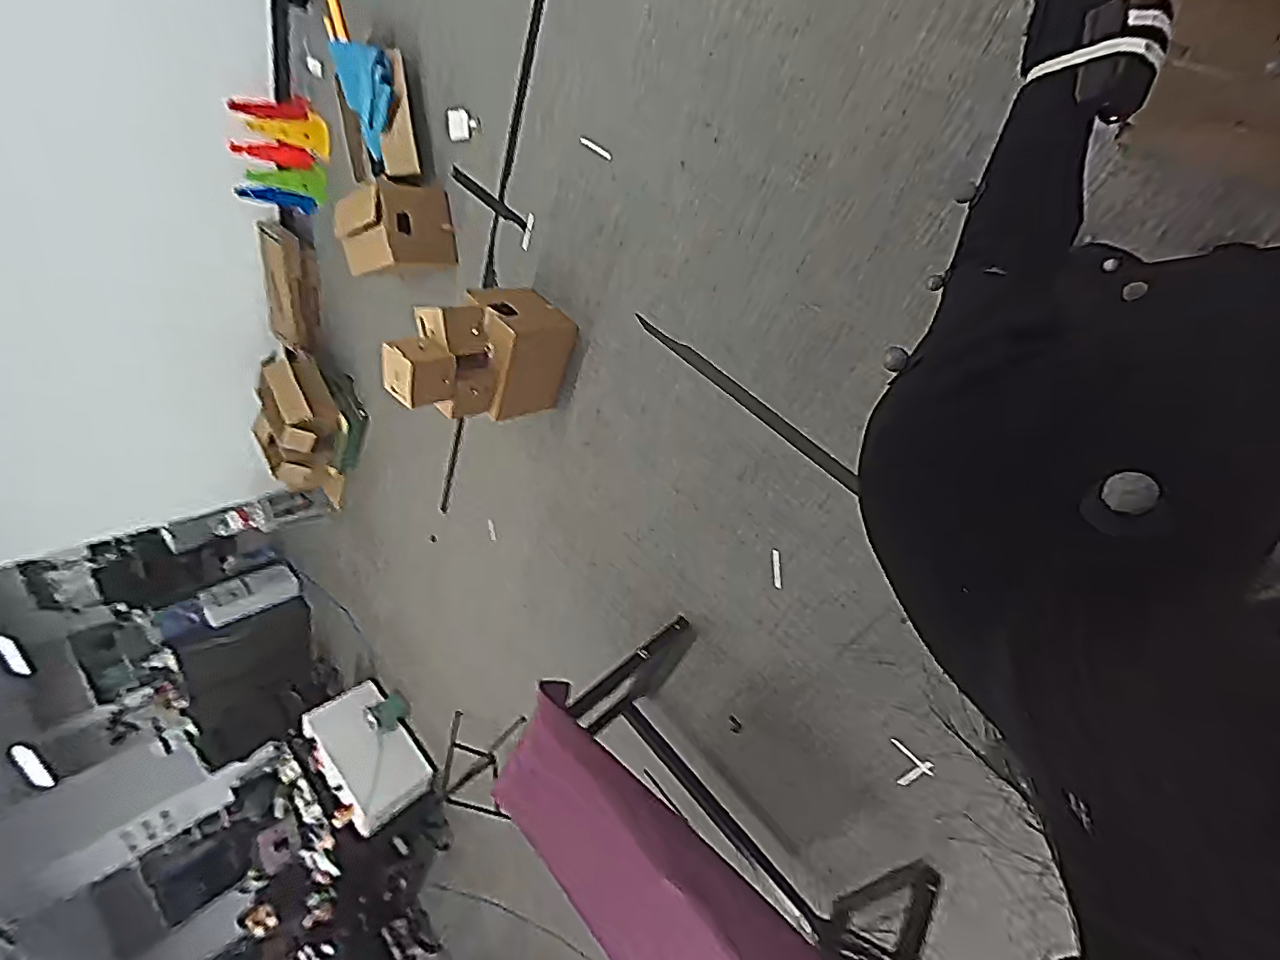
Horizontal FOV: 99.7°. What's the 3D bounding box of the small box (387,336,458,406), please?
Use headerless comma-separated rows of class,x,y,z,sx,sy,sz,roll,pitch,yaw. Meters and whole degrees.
small box,-0.746,-0.382,1.864,0.168,0.176,0.179,37,128,25

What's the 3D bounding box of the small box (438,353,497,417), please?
small box,-0.661,-0.364,2.025,0.179,0.176,0.168,42,127,23

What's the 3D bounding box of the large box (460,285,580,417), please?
large box,-0.490,-0.518,2.150,0.320,0.320,0.408,40,128,22
